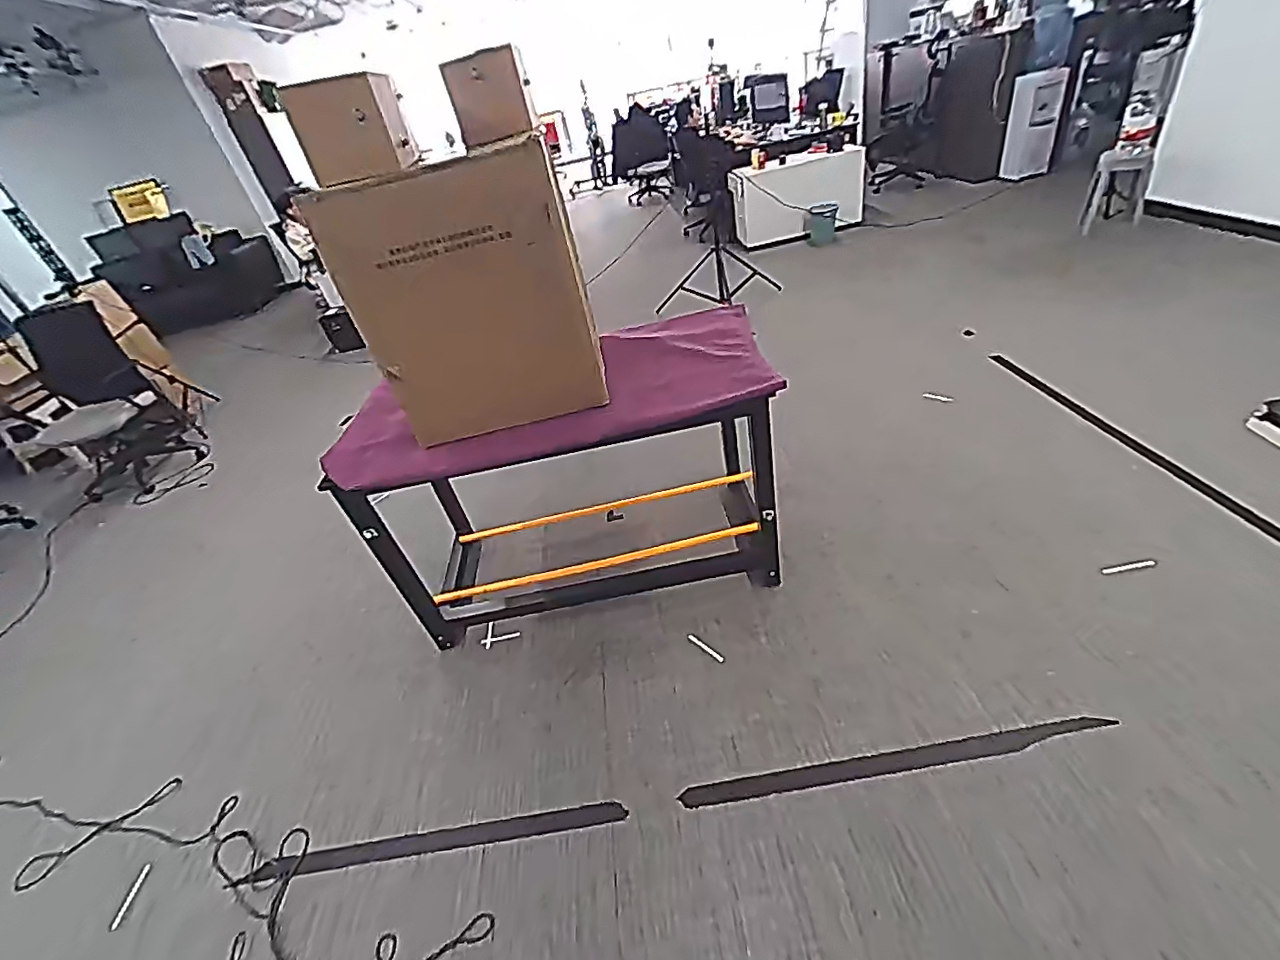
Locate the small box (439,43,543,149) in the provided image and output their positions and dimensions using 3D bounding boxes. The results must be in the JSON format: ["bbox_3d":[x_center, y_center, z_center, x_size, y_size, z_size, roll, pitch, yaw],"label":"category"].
[{"bbox_3d":[-0.342,-0.910,1.283,0.179,0.176,0.168,-11,36,6],"label":"small box"}]
